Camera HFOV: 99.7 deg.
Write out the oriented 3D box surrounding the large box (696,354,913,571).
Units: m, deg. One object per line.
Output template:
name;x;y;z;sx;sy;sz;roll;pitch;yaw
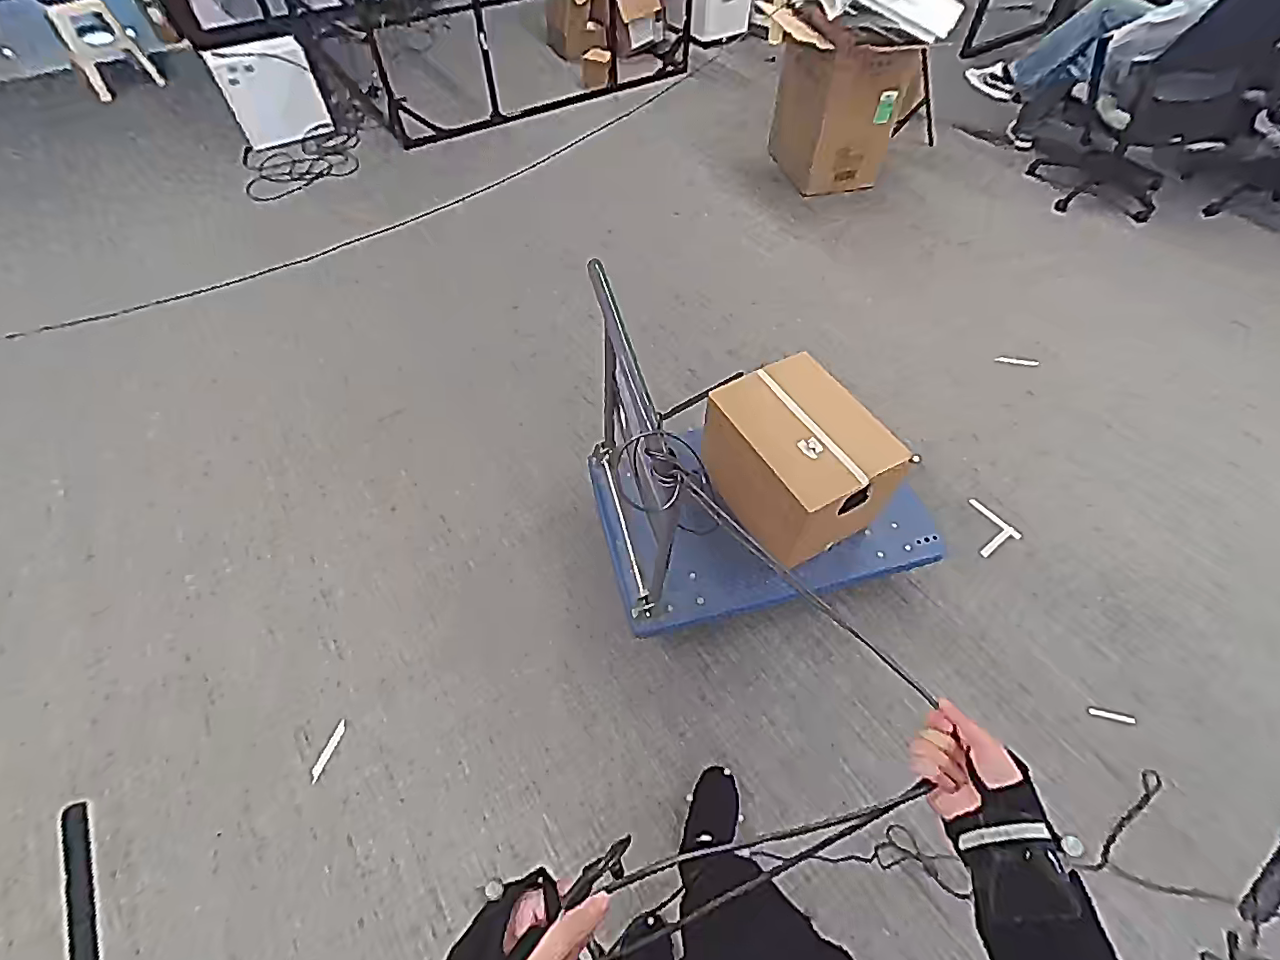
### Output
large box;0.390;-0.046;1.402;0.320;0.320;0.408;-25;60;-15
